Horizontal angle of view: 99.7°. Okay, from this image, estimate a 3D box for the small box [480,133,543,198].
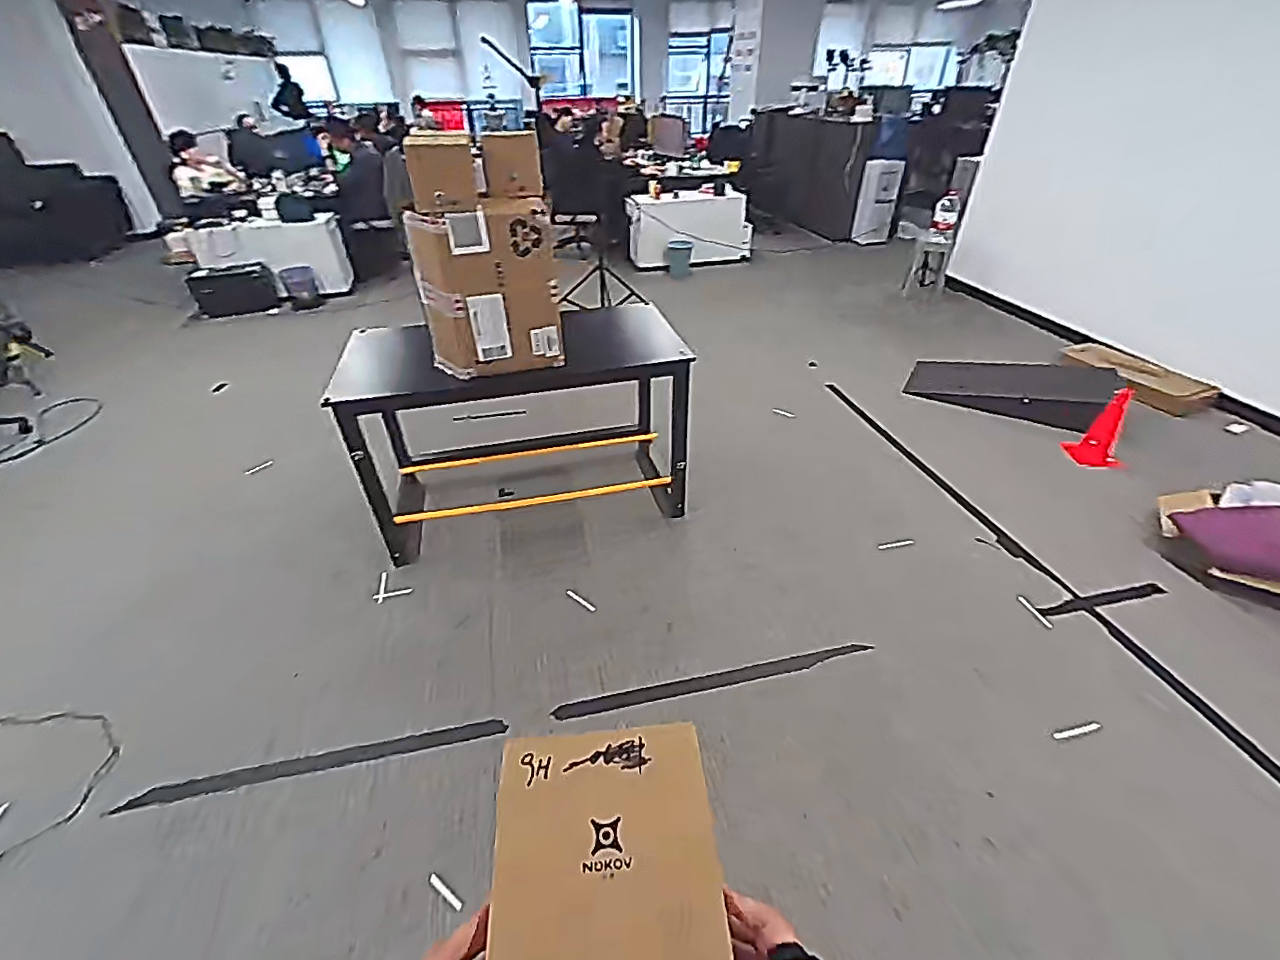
[{"bbox_3d":[-0.409,-1.002,1.720,0.168,0.176,0.179,-11,36,-13],"label":"small box"}]

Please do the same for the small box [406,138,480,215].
[{"bbox_3d":[-0.548,-0.851,1.515,0.168,0.176,0.179,-10,40,-14],"label":"small box"}]
